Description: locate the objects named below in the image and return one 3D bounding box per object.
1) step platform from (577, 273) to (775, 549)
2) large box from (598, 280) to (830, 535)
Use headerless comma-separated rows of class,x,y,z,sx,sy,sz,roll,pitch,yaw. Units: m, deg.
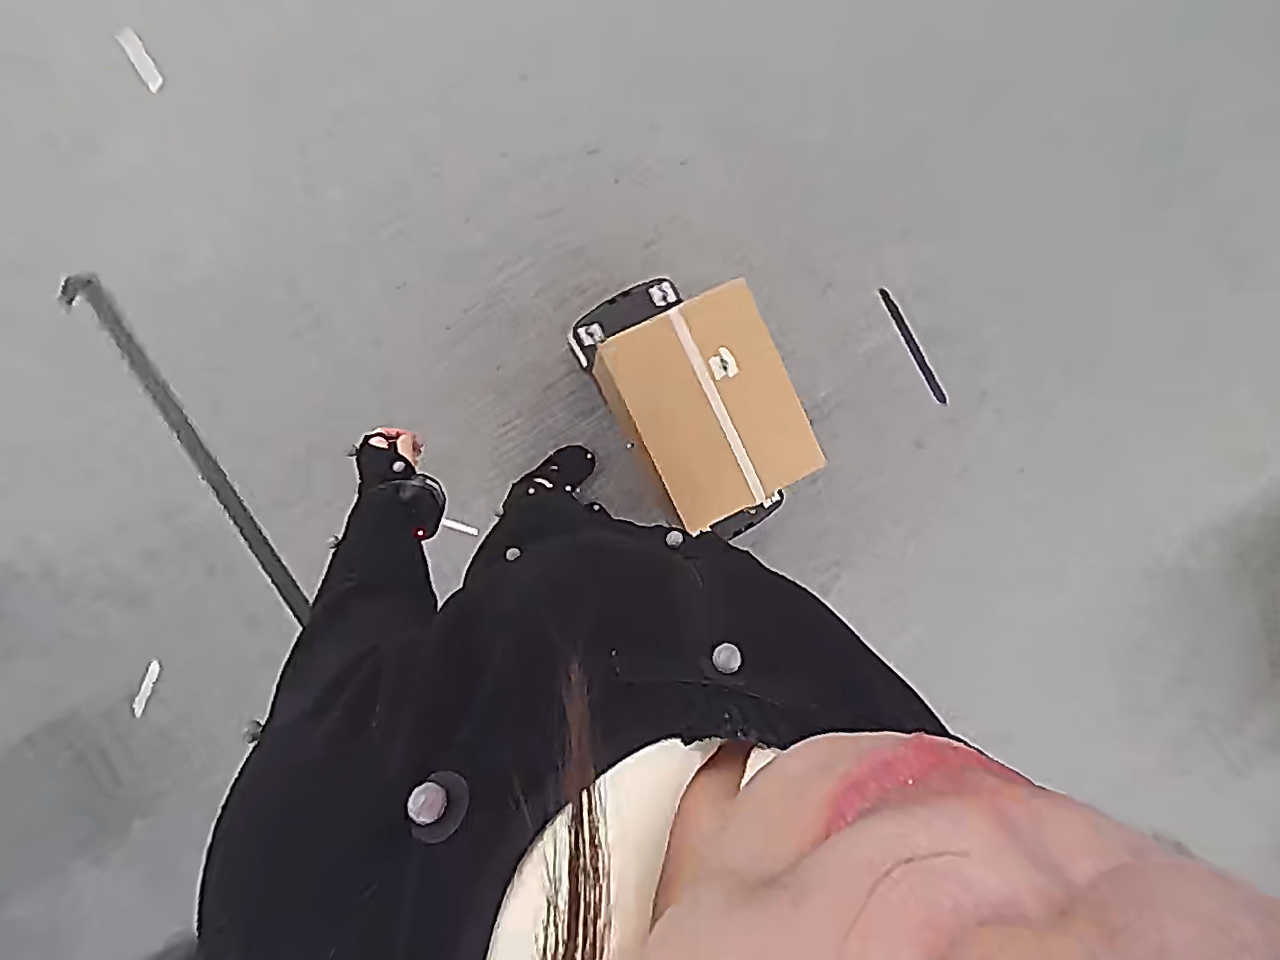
step platform,0.090,-0.169,1.402,0.286,0.204,0.684,-24,94,-5
large box,0.133,-0.139,1.167,0.320,0.320,0.408,-26,94,-6
